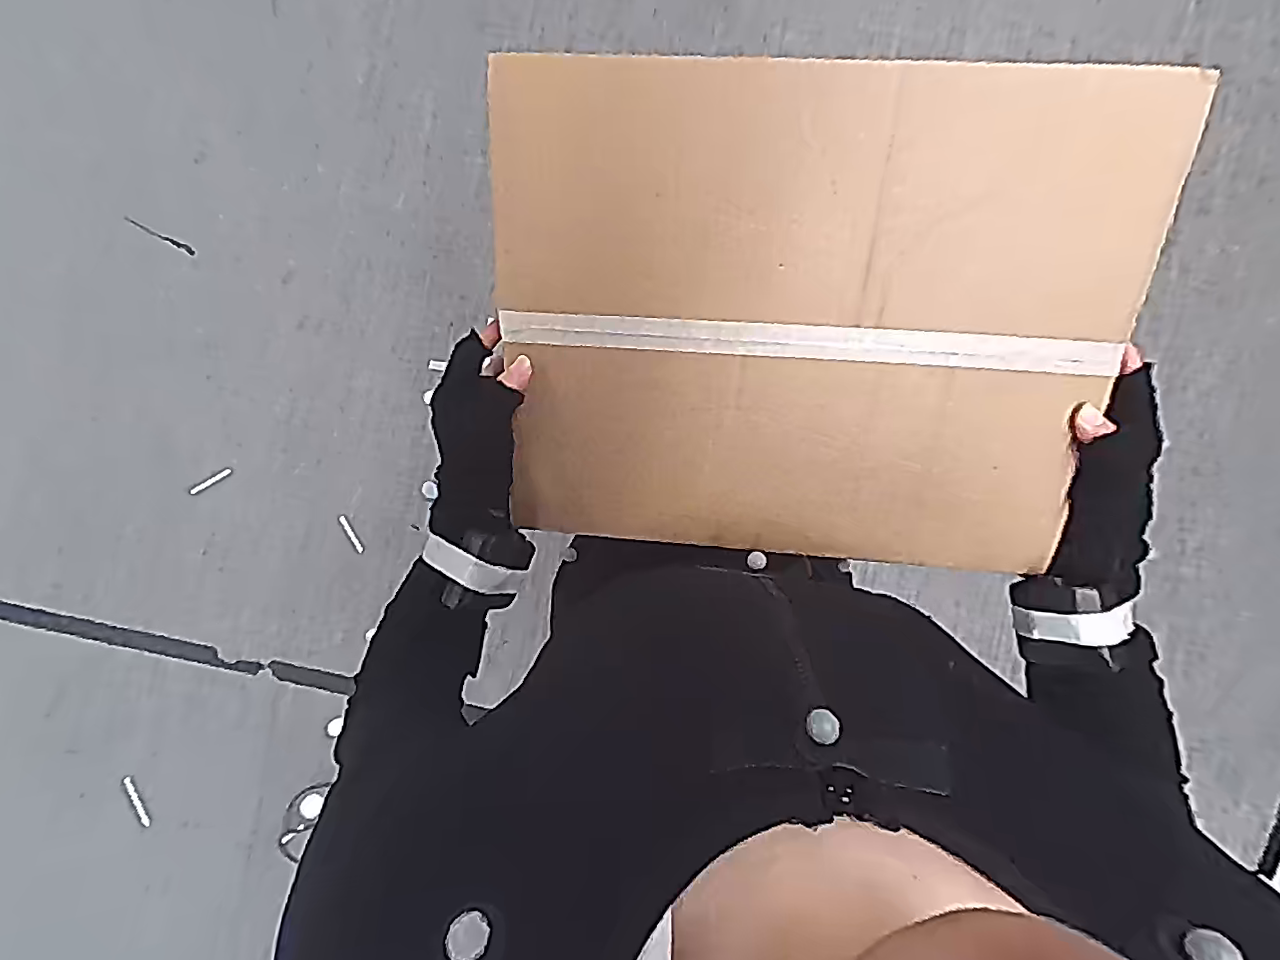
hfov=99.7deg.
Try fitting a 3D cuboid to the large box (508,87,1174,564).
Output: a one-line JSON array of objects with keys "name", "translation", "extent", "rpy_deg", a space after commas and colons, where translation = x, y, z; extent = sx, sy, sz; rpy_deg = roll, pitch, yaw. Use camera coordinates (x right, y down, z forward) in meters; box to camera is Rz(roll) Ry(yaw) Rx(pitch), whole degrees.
[{"name": "large box", "translation": [0.120, -0.141, 0.517], "extent": [0.408, 0.320, 0.320], "rpy_deg": [5, 112, 4]}]
